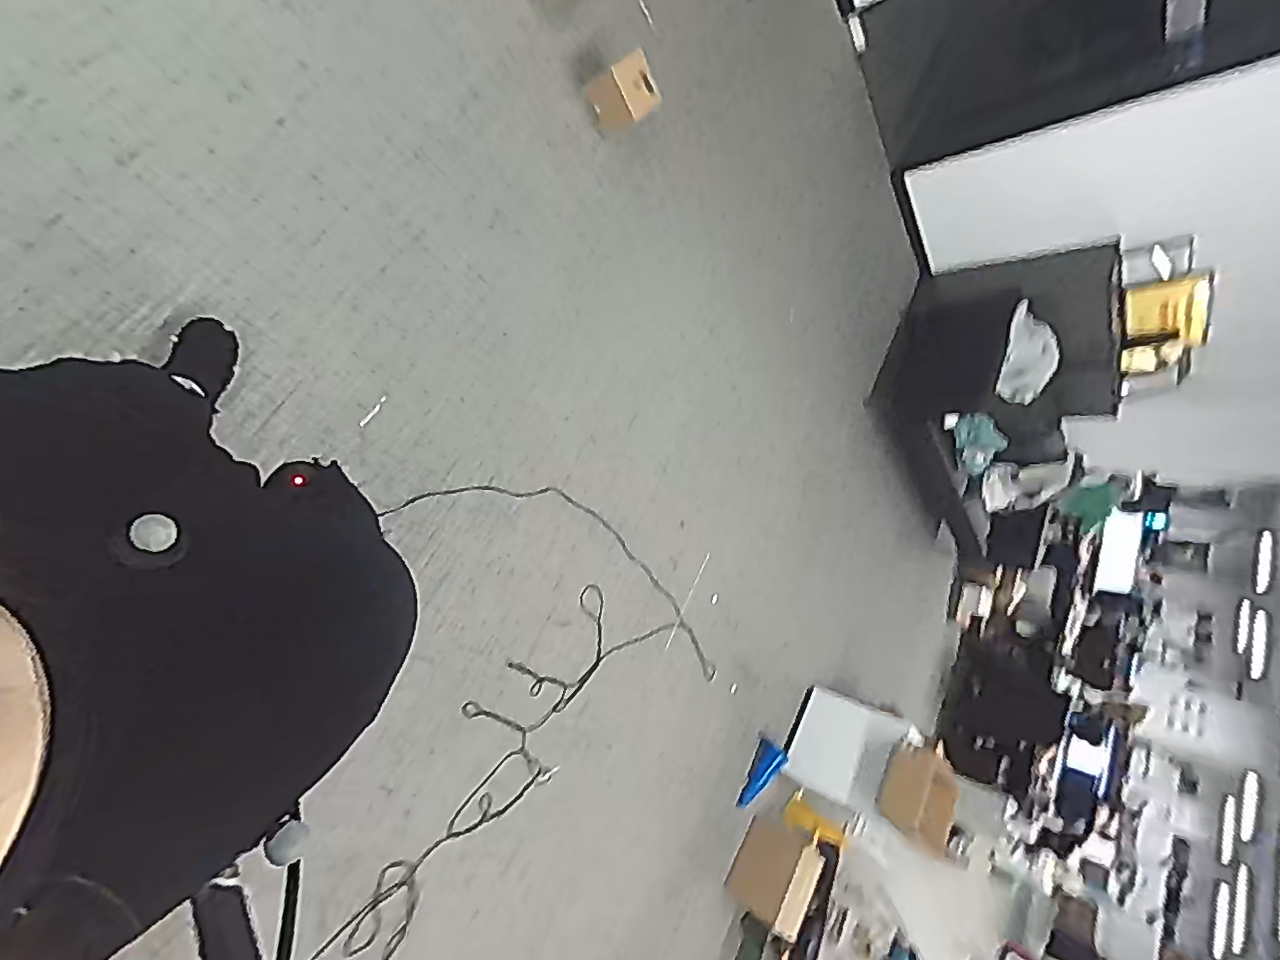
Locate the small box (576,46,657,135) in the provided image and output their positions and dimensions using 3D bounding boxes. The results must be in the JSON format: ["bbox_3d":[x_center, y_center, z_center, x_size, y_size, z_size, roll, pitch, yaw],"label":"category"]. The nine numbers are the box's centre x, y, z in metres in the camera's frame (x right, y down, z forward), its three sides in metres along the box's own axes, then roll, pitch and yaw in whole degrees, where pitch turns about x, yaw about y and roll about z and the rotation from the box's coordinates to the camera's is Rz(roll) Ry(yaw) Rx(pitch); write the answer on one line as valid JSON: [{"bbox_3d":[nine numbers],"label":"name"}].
[{"bbox_3d":[-0.080,-1.294,1.804,0.179,0.176,0.168,-53,128,-26],"label":"small box"}]
